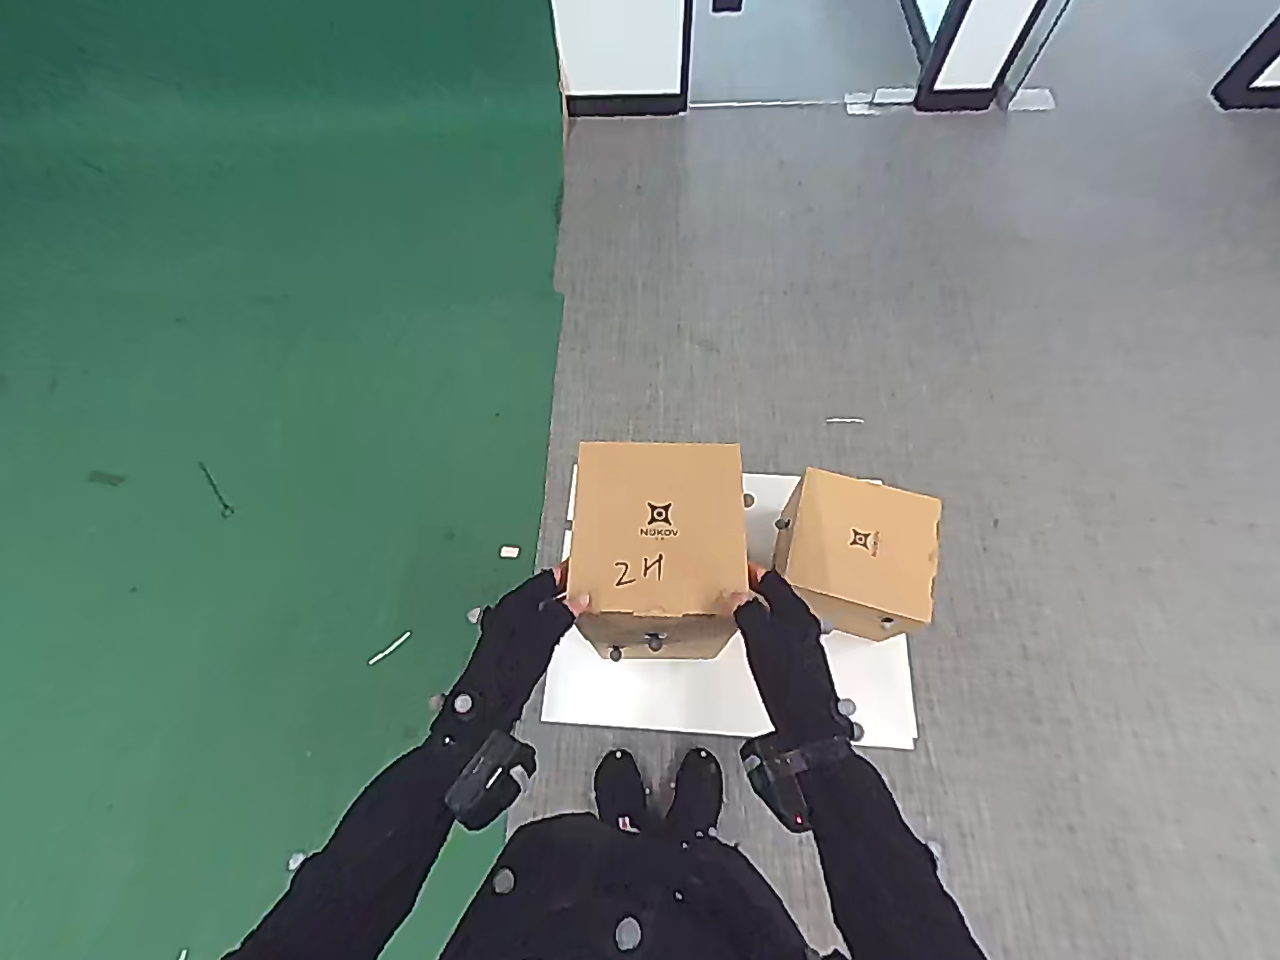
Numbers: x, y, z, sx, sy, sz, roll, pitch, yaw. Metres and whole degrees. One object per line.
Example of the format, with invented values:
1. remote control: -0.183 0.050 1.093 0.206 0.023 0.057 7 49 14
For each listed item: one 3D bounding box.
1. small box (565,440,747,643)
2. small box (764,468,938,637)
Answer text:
1. small box: 0.018 0.073 0.588 0.168 0.176 0.179 1 66 2
2. small box: 0.280 0.107 0.746 0.179 0.176 0.168 14 67 8
